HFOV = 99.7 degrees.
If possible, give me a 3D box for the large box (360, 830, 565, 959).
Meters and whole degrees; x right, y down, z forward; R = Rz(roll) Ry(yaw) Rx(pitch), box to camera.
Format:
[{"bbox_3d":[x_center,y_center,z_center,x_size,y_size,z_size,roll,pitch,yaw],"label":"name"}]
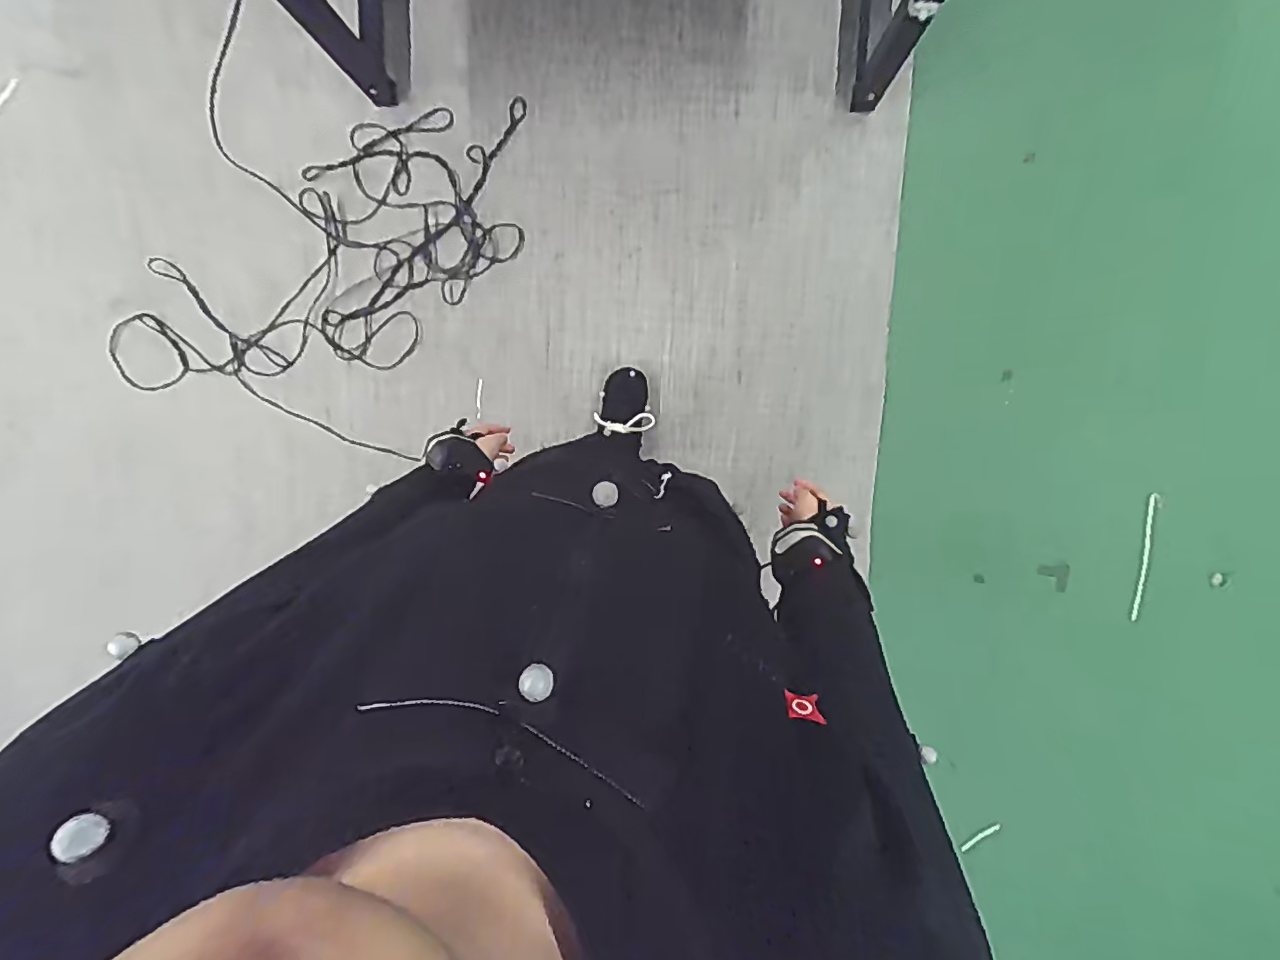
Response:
[{"bbox_3d":[-0.426,1.150,1.347,0.408,0.320,0.320,9,95,3],"label":"large box"}]
